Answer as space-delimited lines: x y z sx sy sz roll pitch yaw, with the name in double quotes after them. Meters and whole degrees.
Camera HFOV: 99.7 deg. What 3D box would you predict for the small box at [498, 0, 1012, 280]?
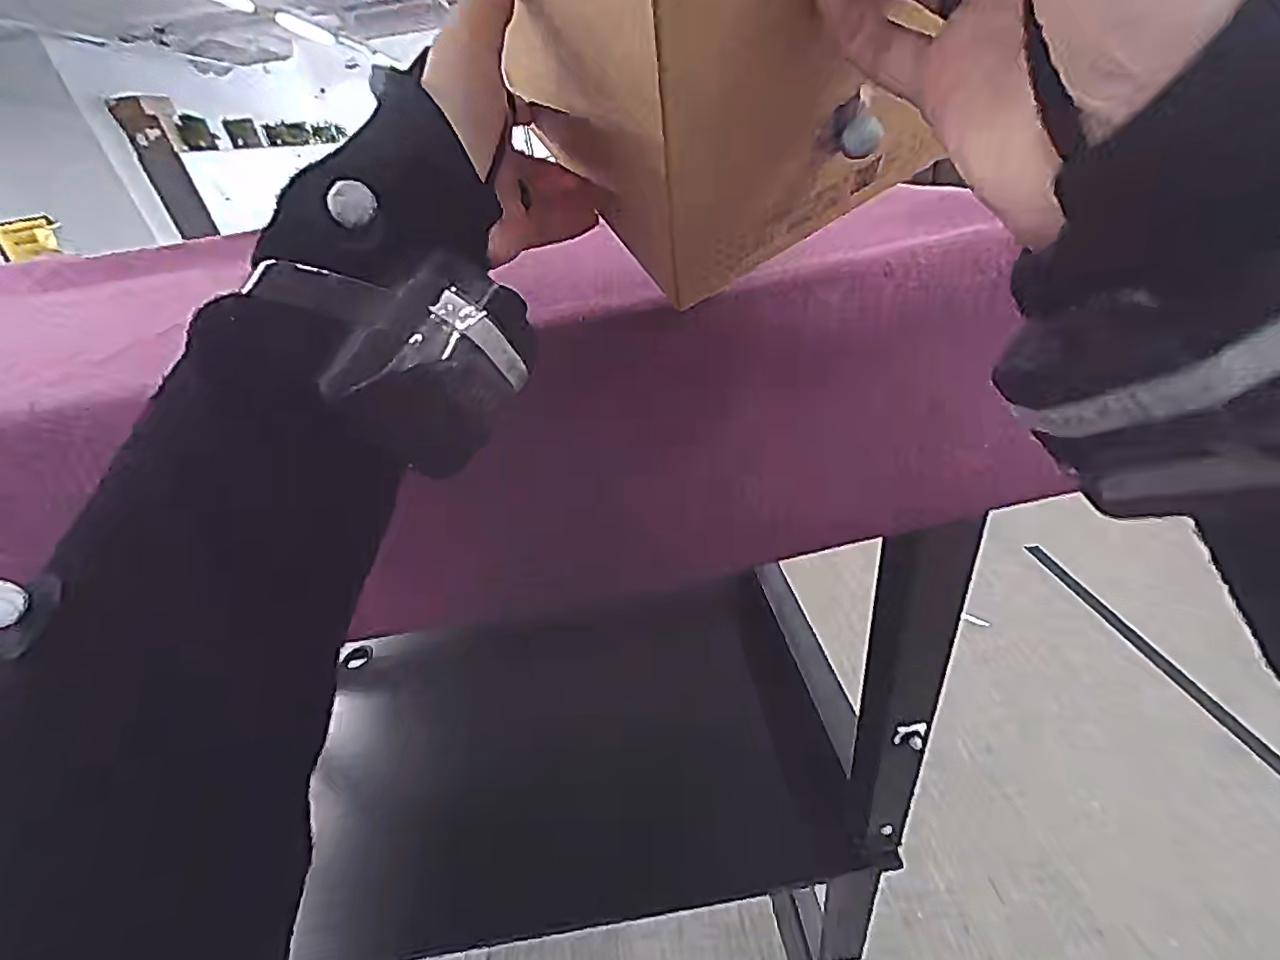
0.035 -0.223 0.221 0.168 0.176 0.179 -31 67 -6 "small box"
